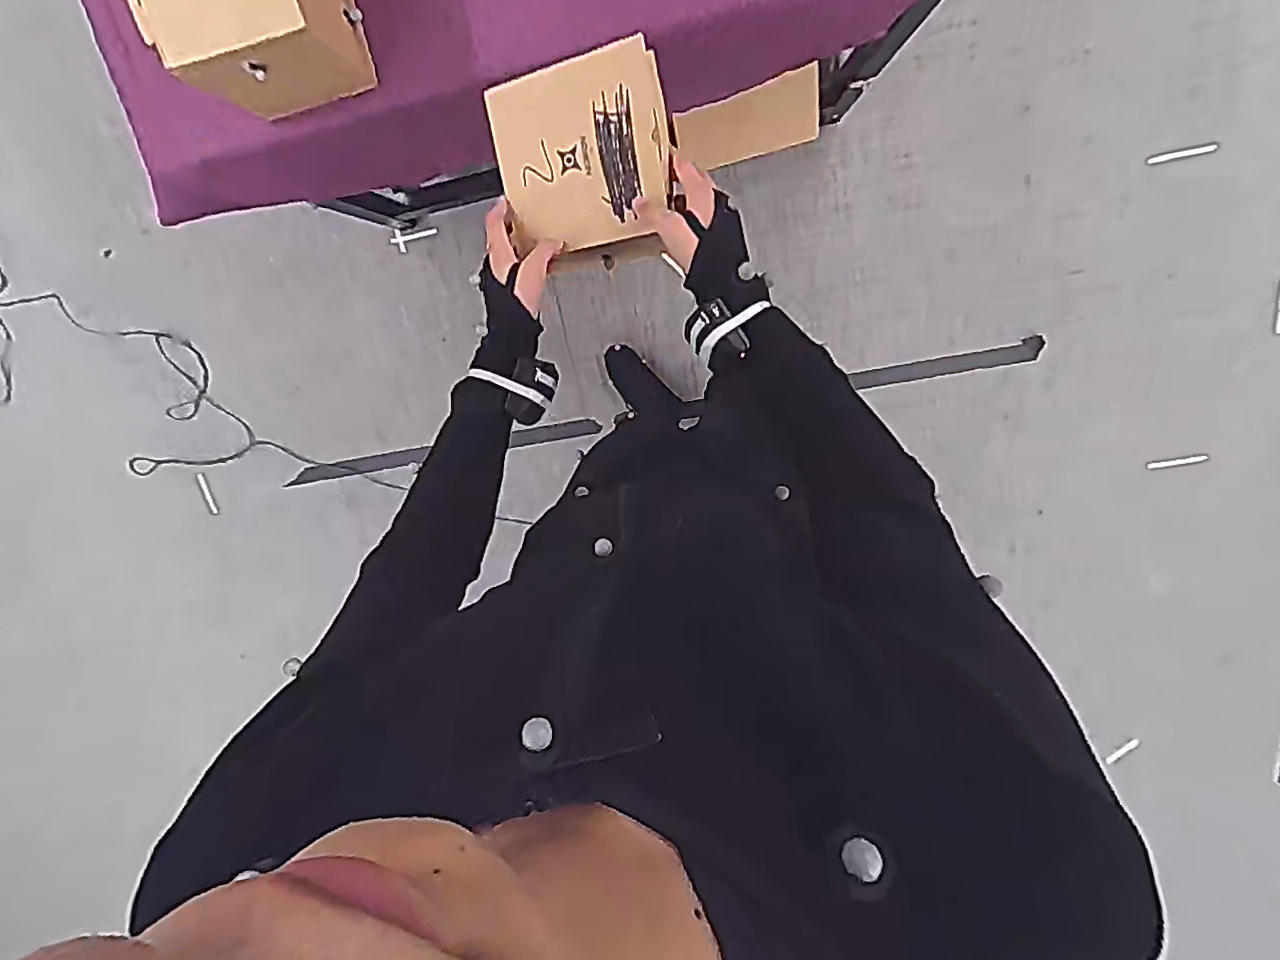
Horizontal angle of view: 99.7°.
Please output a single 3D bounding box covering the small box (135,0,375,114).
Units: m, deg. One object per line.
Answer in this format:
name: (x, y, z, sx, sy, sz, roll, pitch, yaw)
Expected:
small box: (-0.459, -0.570, 0.643, 0.179, 0.176, 0.168, -11, 107, 6)
